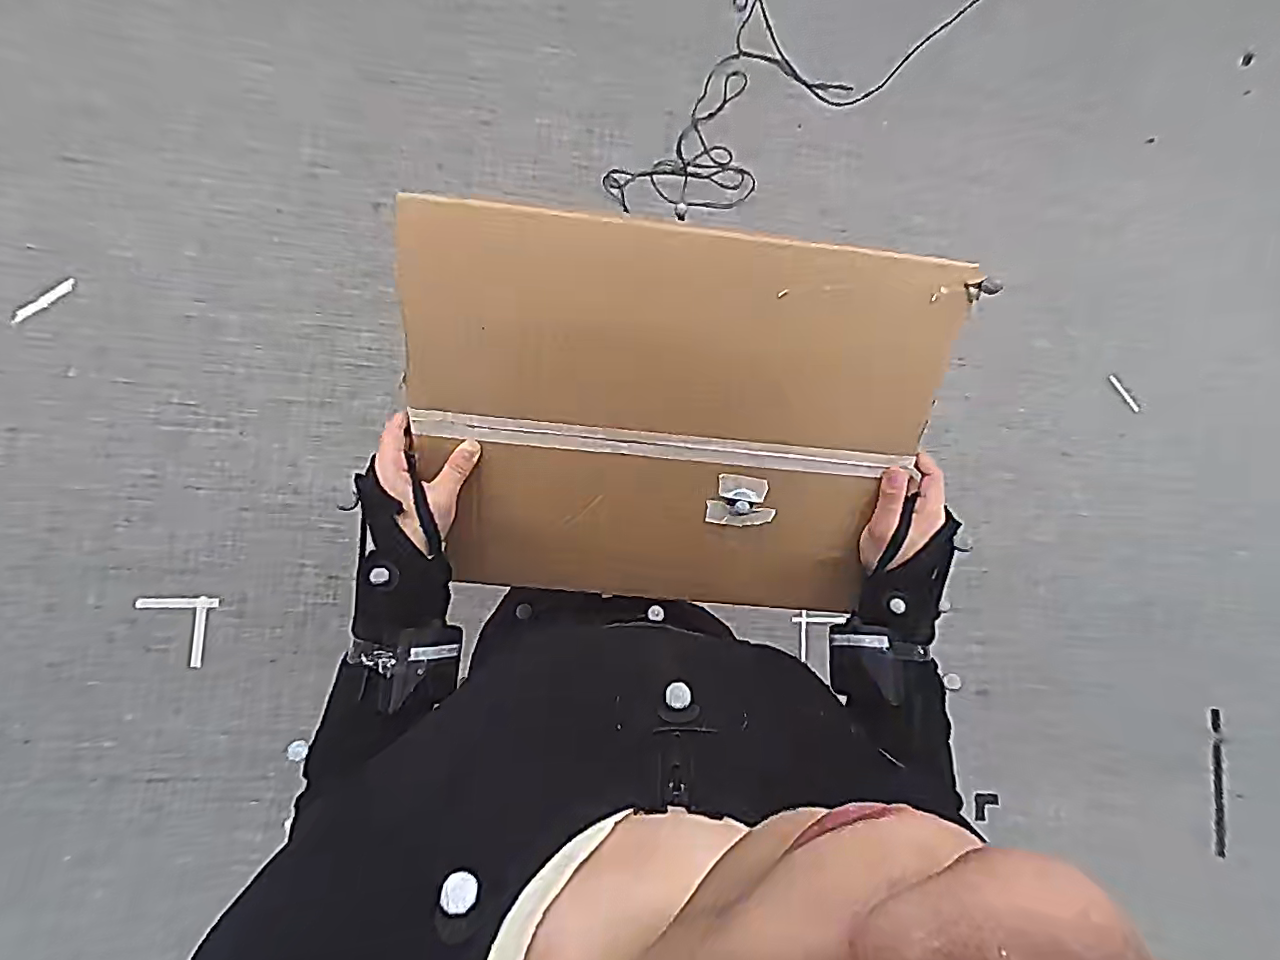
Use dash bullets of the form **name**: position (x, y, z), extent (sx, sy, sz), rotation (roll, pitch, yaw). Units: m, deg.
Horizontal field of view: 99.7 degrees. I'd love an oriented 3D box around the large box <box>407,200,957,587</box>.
- **large box**: position (0.016, -0.108, 0.580), extent (0.408, 0.320, 0.320), rotation (4, 118, -5)
